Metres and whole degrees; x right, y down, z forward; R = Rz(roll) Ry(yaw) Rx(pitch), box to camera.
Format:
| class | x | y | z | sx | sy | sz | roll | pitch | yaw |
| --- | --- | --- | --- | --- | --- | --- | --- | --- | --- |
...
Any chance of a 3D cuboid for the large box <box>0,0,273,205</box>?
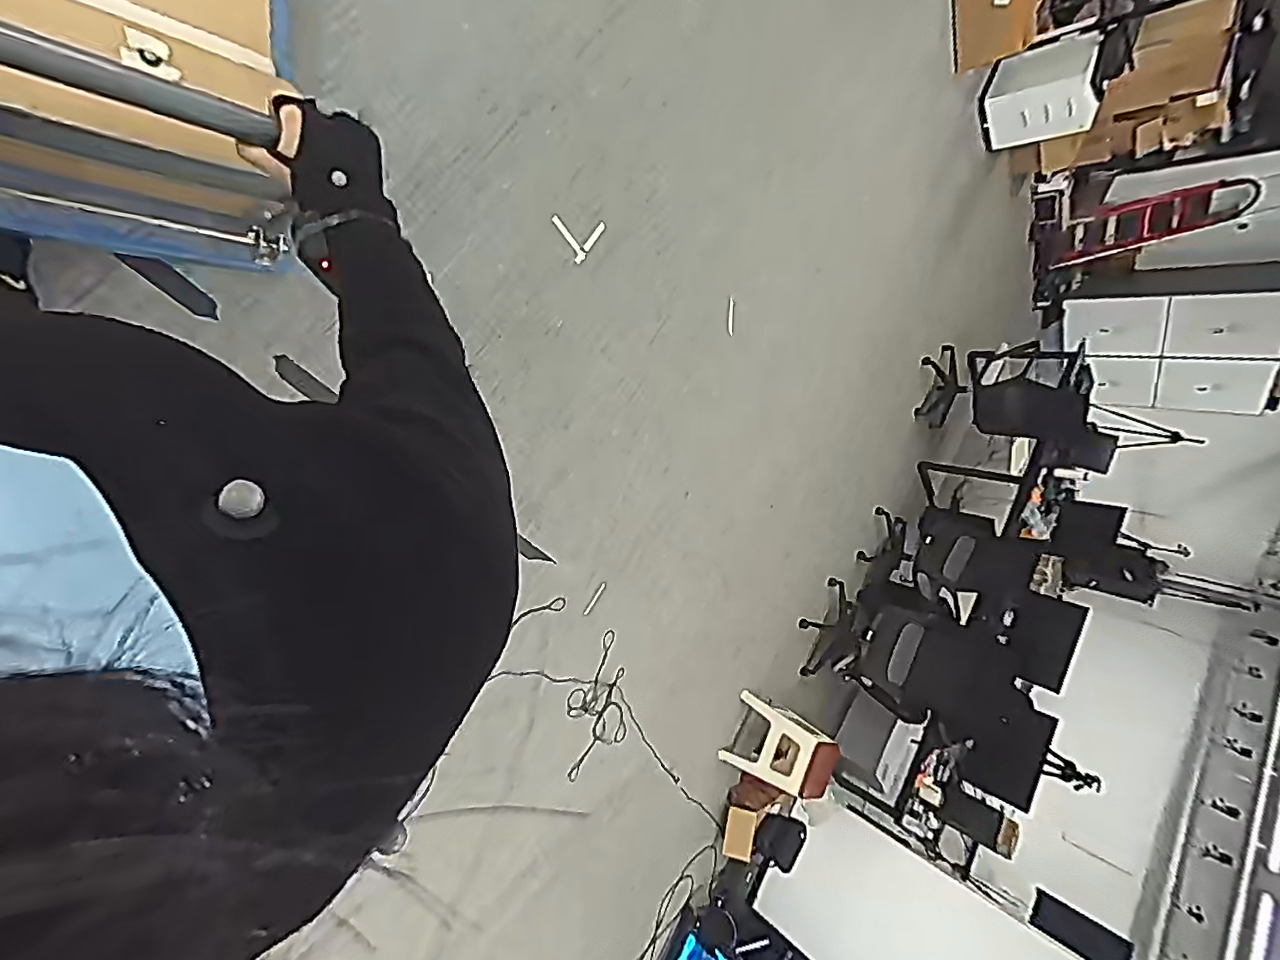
| class | x | y | z | sx | sy | sz | roll | pitch | yaw |
| --- | --- | --- | --- | --- | --- | --- | --- | --- | --- |
| large box | -0.791 | -0.623 | 0.751 | 0.408 | 0.320 | 0.320 | -5 | 105 | -46 |
